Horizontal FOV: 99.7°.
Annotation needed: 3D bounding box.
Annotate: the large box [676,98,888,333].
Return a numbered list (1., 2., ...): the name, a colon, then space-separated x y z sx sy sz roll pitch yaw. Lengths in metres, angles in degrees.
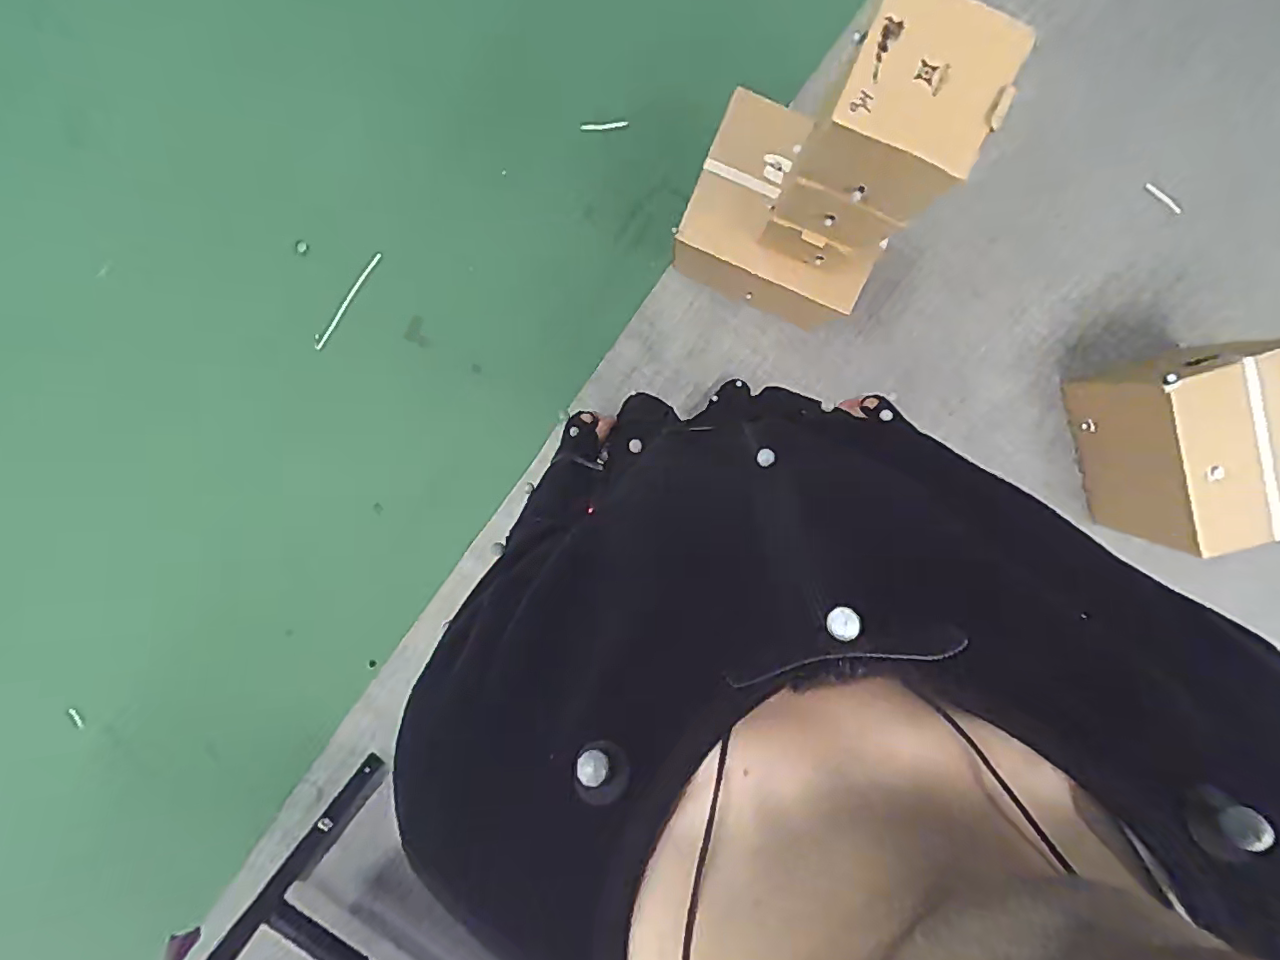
1. large box: 0.327 -0.572 1.245 0.408 0.320 0.320 24 98 1

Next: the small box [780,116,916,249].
1. small box: 0.343 -0.484 0.845 0.179 0.176 0.168 23 99 0

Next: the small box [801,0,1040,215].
1. small box: 0.333 -0.462 0.682 0.179 0.176 0.168 24 99 -2

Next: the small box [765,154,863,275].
1. small box: 0.347 -0.507 1.007 0.168 0.176 0.179 24 99 -1
